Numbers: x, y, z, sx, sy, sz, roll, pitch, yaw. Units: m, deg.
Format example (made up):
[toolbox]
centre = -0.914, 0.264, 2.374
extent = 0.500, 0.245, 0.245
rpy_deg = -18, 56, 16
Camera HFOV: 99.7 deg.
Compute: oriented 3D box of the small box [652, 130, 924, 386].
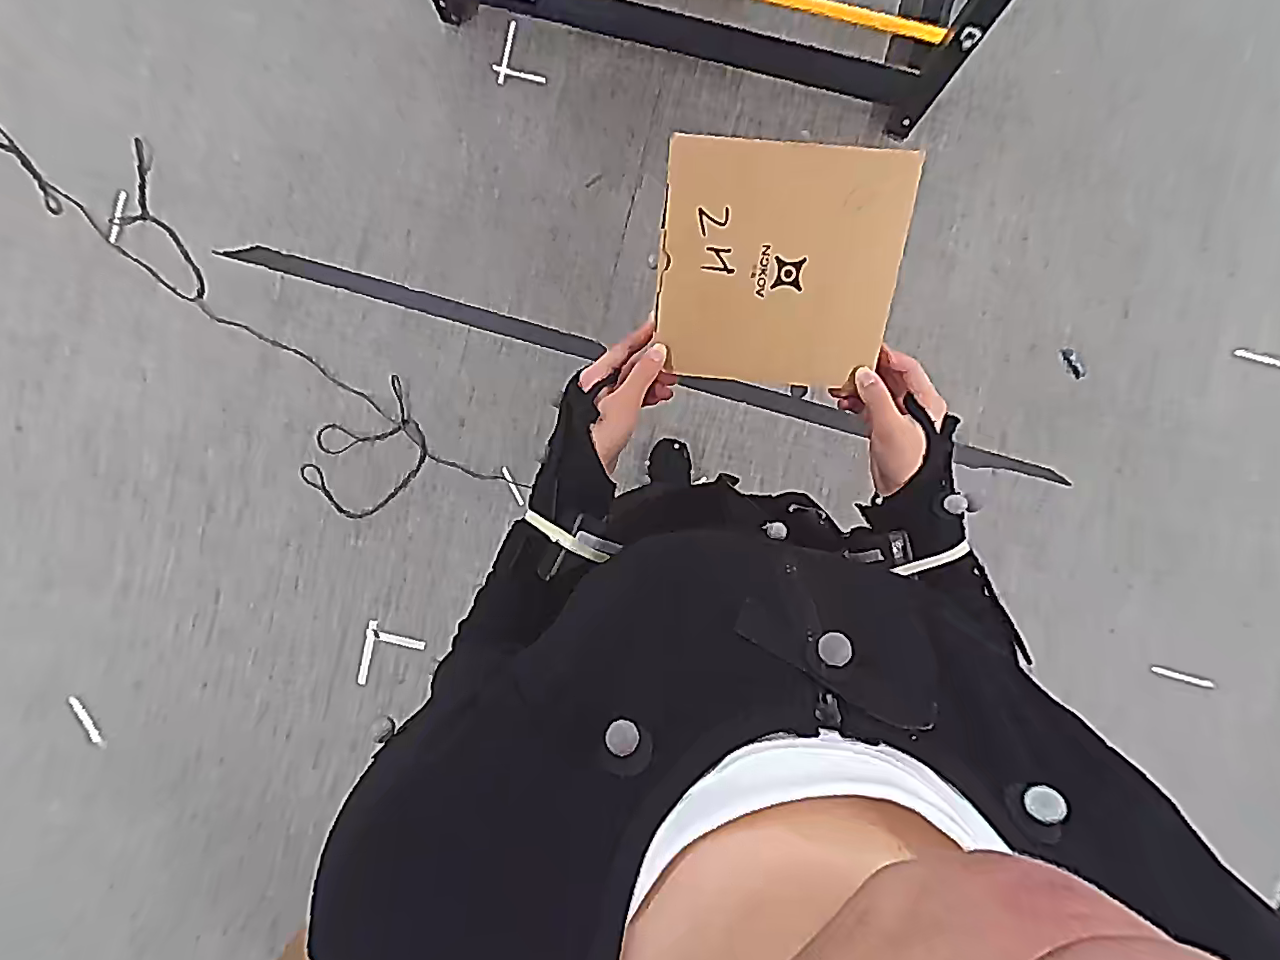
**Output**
[small box]
centre = 0.108, -0.187, 0.474
extent = 0.179, 0.176, 0.168
rpy_deg = 6, 111, 2
